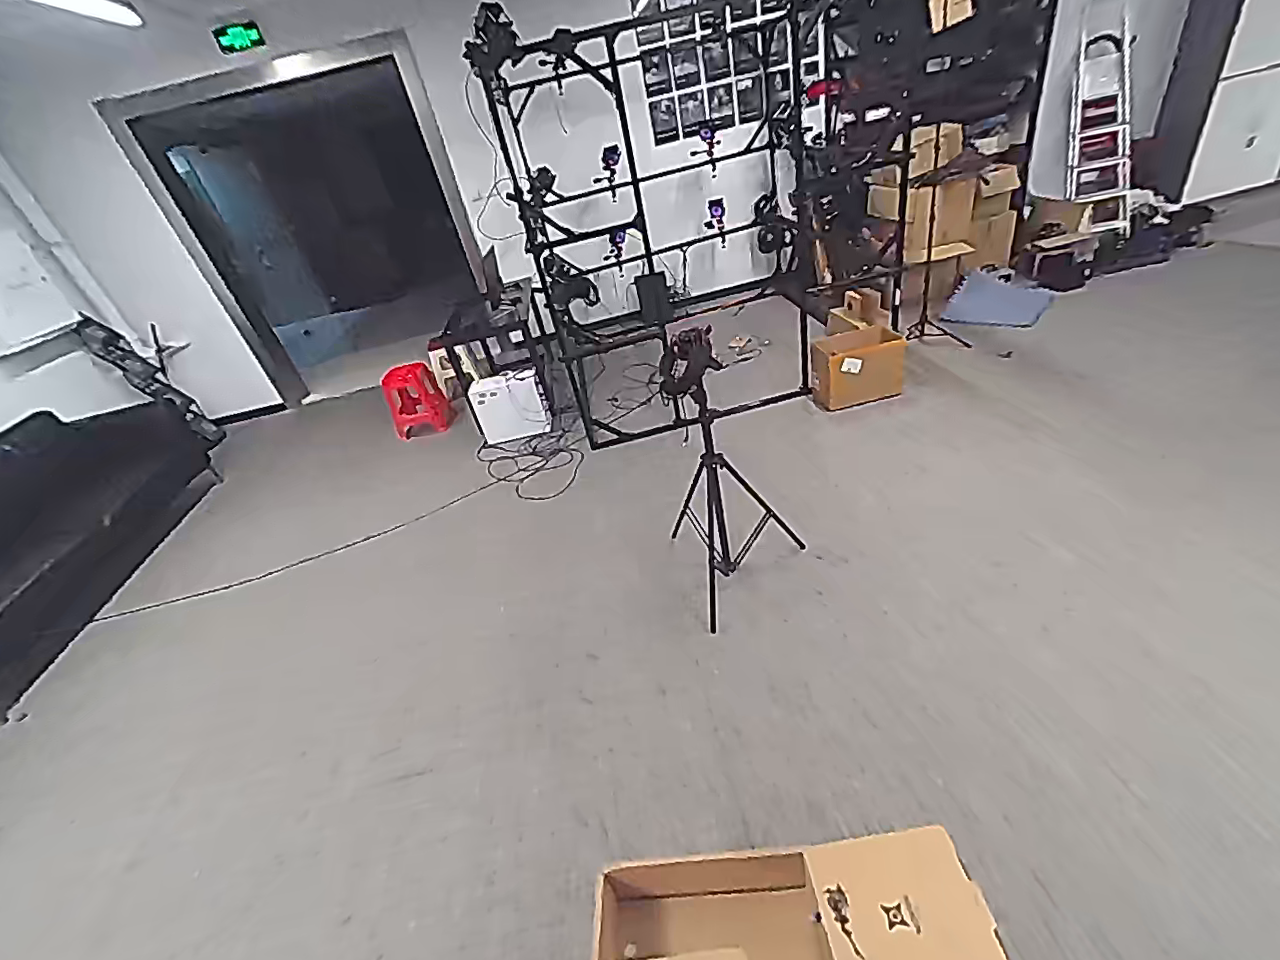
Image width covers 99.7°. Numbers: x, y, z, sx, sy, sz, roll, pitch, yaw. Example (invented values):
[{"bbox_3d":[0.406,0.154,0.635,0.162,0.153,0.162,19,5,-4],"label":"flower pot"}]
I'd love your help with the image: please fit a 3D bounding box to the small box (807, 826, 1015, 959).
[{"bbox_3d":[0.304,0.538,0.627,0.179,0.176,0.168,-11,32,3],"label":"small box"}]
